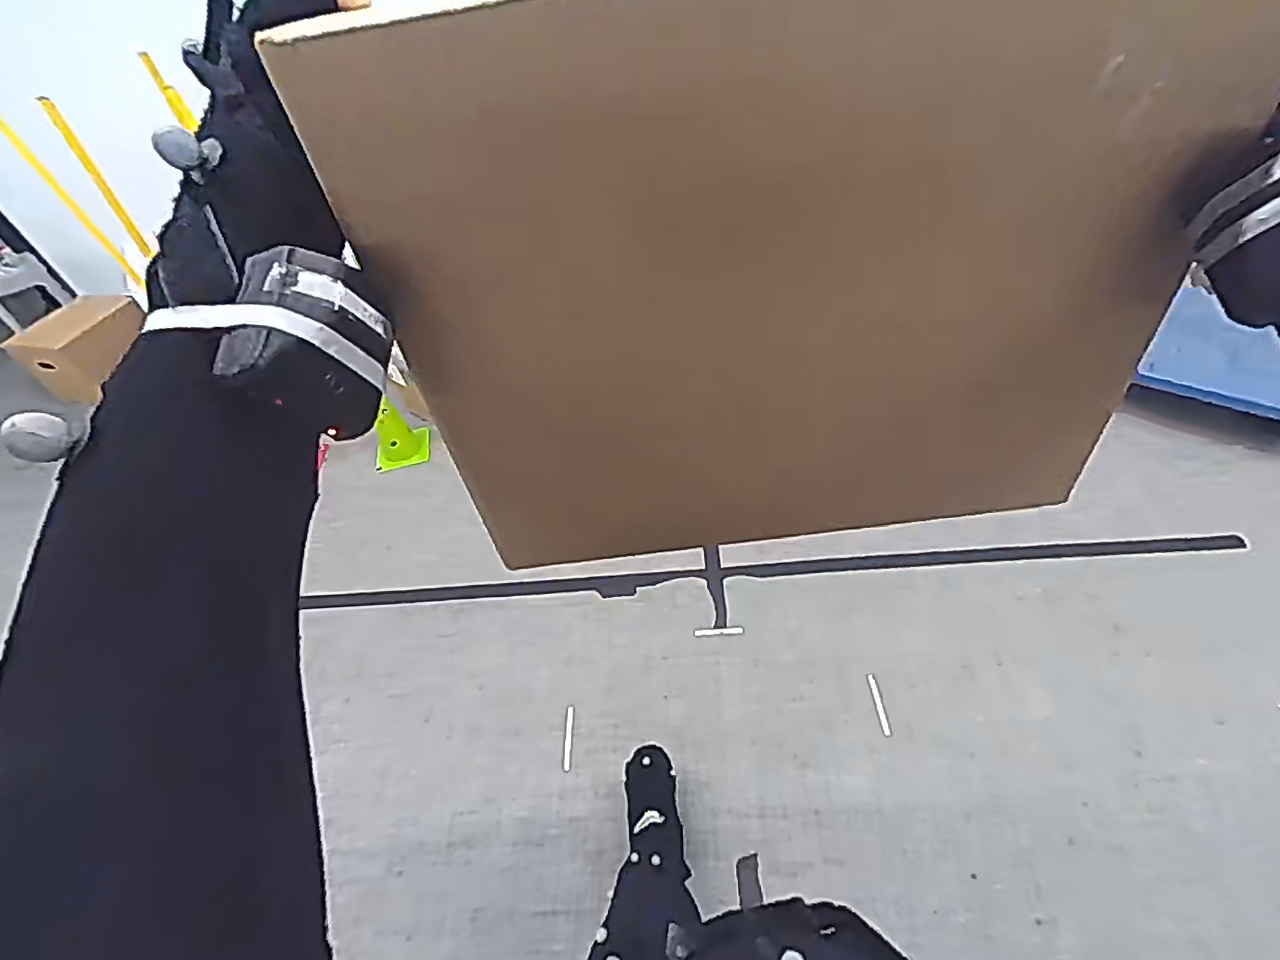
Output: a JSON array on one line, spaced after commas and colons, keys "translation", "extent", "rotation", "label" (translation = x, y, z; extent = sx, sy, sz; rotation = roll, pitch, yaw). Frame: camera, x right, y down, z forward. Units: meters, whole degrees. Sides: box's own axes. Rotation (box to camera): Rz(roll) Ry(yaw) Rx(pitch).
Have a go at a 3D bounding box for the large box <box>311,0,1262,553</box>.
[{"translation": [0.069, -0.176, 0.419], "extent": [0.408, 0.320, 0.320], "rotation": [-7, 42, 2], "label": "large box"}]
